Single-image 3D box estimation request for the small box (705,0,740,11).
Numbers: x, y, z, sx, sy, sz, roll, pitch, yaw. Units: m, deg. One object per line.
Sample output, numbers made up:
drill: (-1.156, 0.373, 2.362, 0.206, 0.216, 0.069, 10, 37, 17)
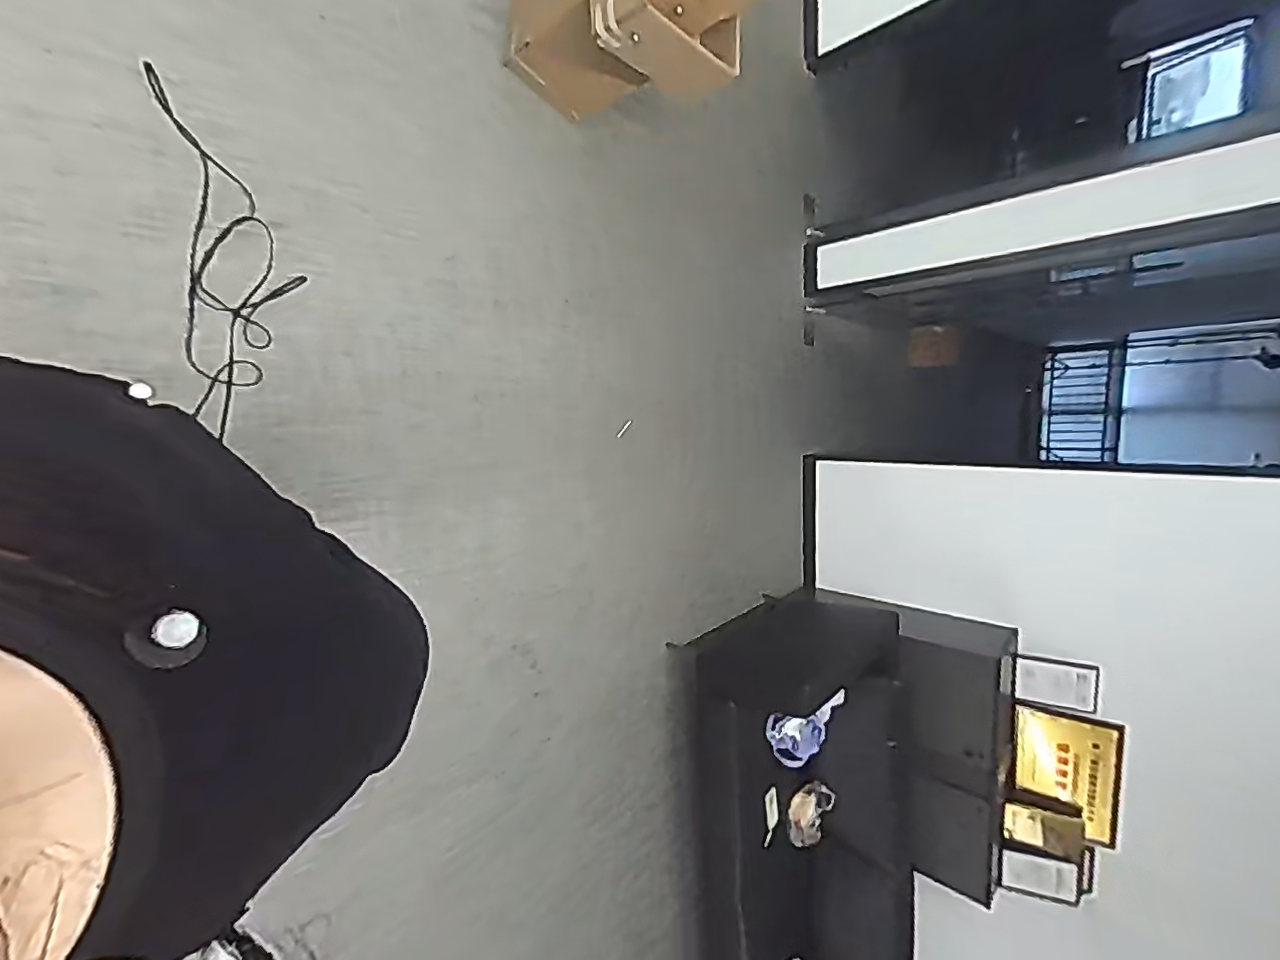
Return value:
small box: (0.211, -1.289, 1.297, 0.179, 0.176, 0.168, -5, 97, -47)
